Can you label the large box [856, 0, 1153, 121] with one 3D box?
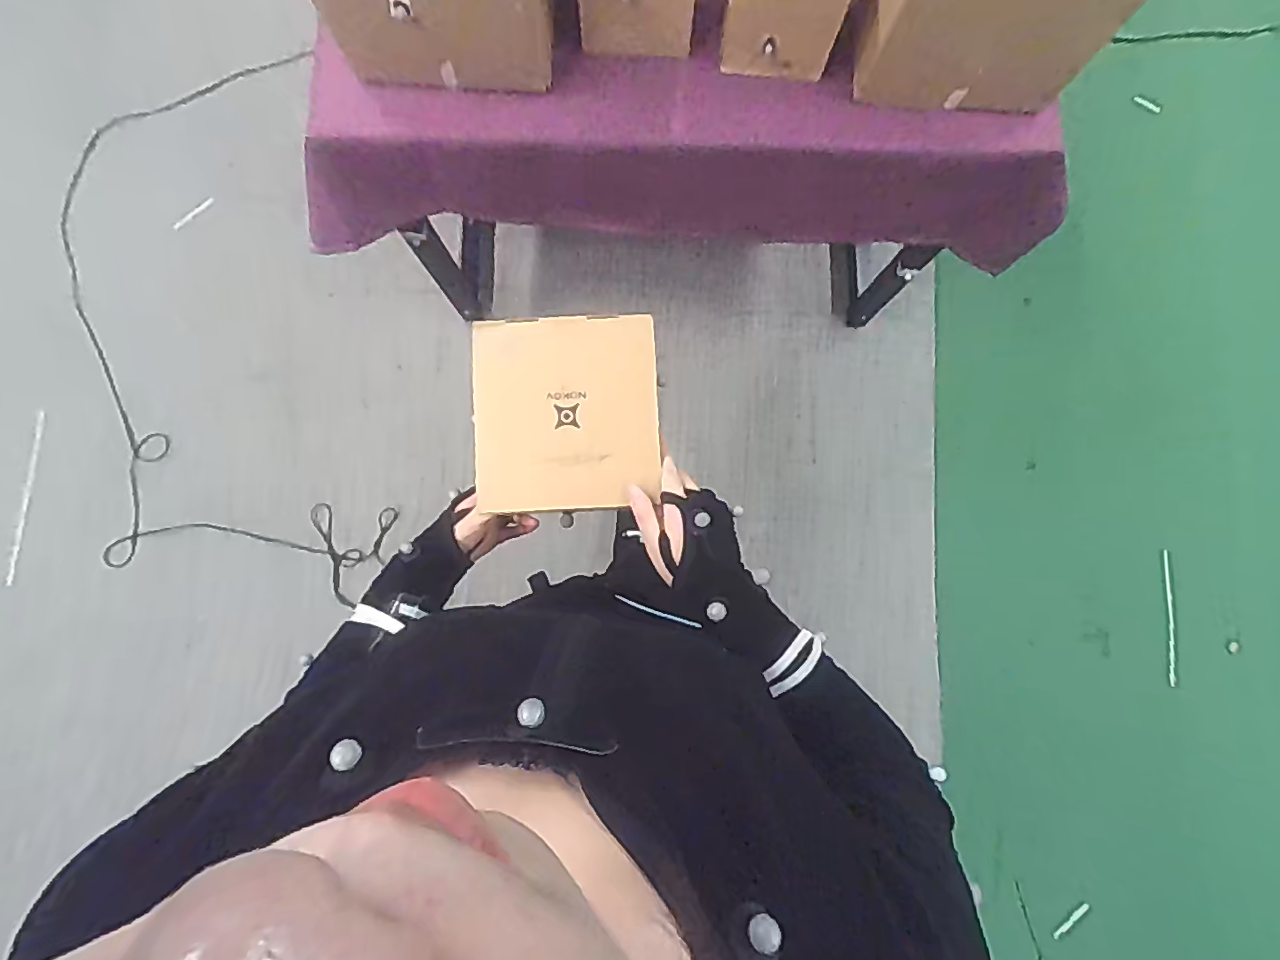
[{"bbox_3d":[0.519,-0.816,0.764,0.320,0.320,0.408,4,83,-1],"label":"large box"}]
